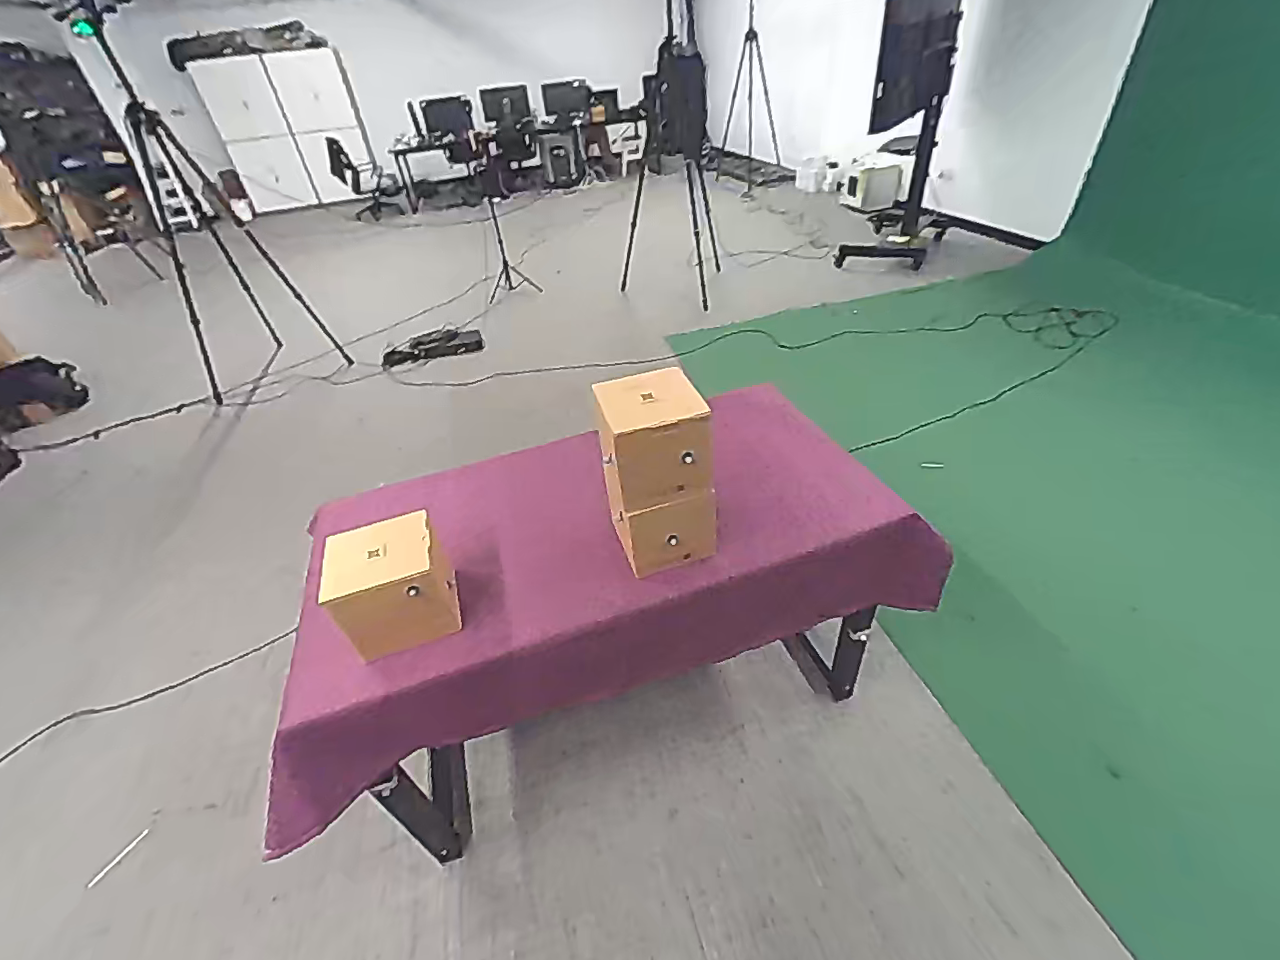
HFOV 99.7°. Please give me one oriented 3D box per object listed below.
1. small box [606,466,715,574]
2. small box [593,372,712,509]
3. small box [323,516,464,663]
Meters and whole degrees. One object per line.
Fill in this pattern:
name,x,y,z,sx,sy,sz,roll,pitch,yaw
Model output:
small box,0.042,0.064,1.061,0.168,0.176,0.179,-15,38,-10
small box,0.024,-0.066,0.964,0.168,0.176,0.179,-14,38,-8
small box,-0.435,0.199,0.975,0.179,0.176,0.168,-17,38,-13
